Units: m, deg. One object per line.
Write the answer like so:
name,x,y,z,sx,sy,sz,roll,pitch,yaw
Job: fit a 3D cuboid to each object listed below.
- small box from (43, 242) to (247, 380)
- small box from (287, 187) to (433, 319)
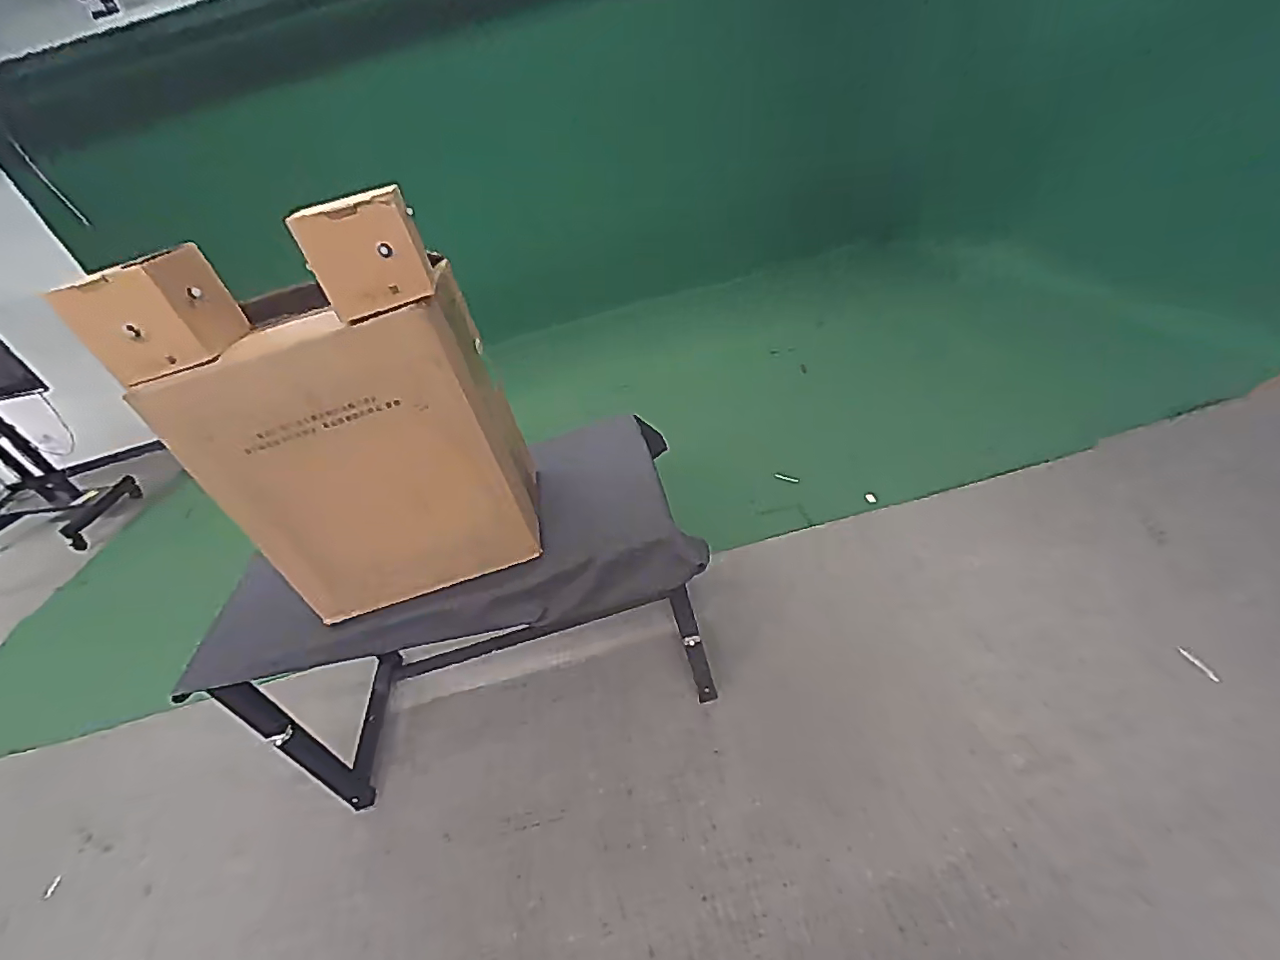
small box,-0.847,-0.293,0.953,0.168,0.176,0.179,-17,36,-1
small box,-0.477,-0.398,0.953,0.168,0.176,0.179,-20,35,-9
